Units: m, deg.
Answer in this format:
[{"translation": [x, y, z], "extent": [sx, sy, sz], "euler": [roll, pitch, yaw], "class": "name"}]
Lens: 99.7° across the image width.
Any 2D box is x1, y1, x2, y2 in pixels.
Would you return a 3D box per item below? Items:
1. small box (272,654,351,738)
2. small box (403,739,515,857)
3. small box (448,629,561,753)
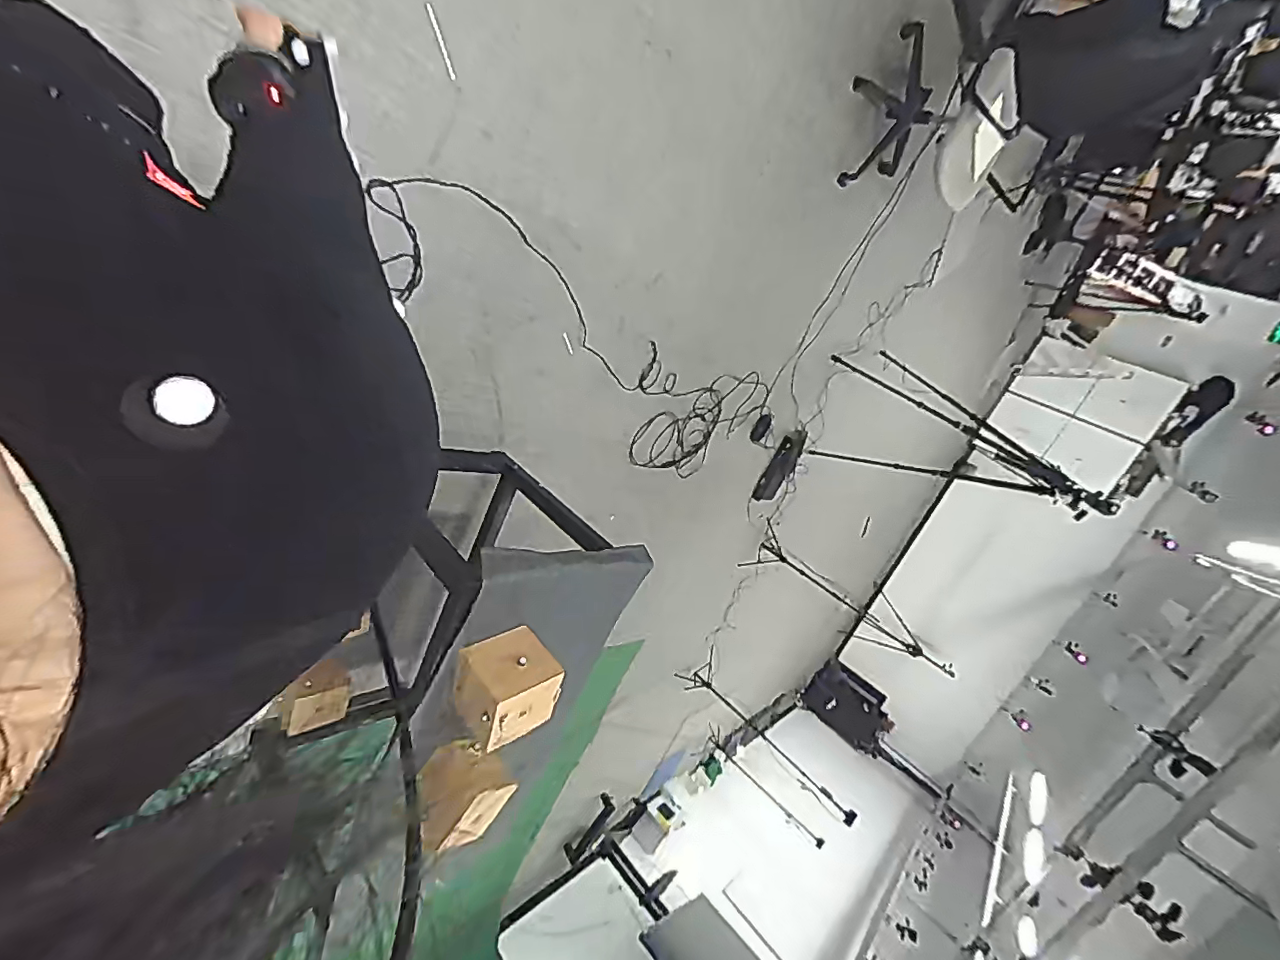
[{"translation": [-1.105, 0.716, 1.808], "extent": [0.179, 0.176, 0.168], "euler": [-2, 122, -50], "class": "small box"}, {"translation": [-0.455, 0.777, 1.343], "extent": [0.179, 0.176, 0.168], "euler": [-55, 150, -2], "class": "small box"}, {"translation": [-0.314, 0.474, 1.246], "extent": [0.179, 0.176, 0.168], "euler": [-12, 128, -46], "class": "small box"}]
